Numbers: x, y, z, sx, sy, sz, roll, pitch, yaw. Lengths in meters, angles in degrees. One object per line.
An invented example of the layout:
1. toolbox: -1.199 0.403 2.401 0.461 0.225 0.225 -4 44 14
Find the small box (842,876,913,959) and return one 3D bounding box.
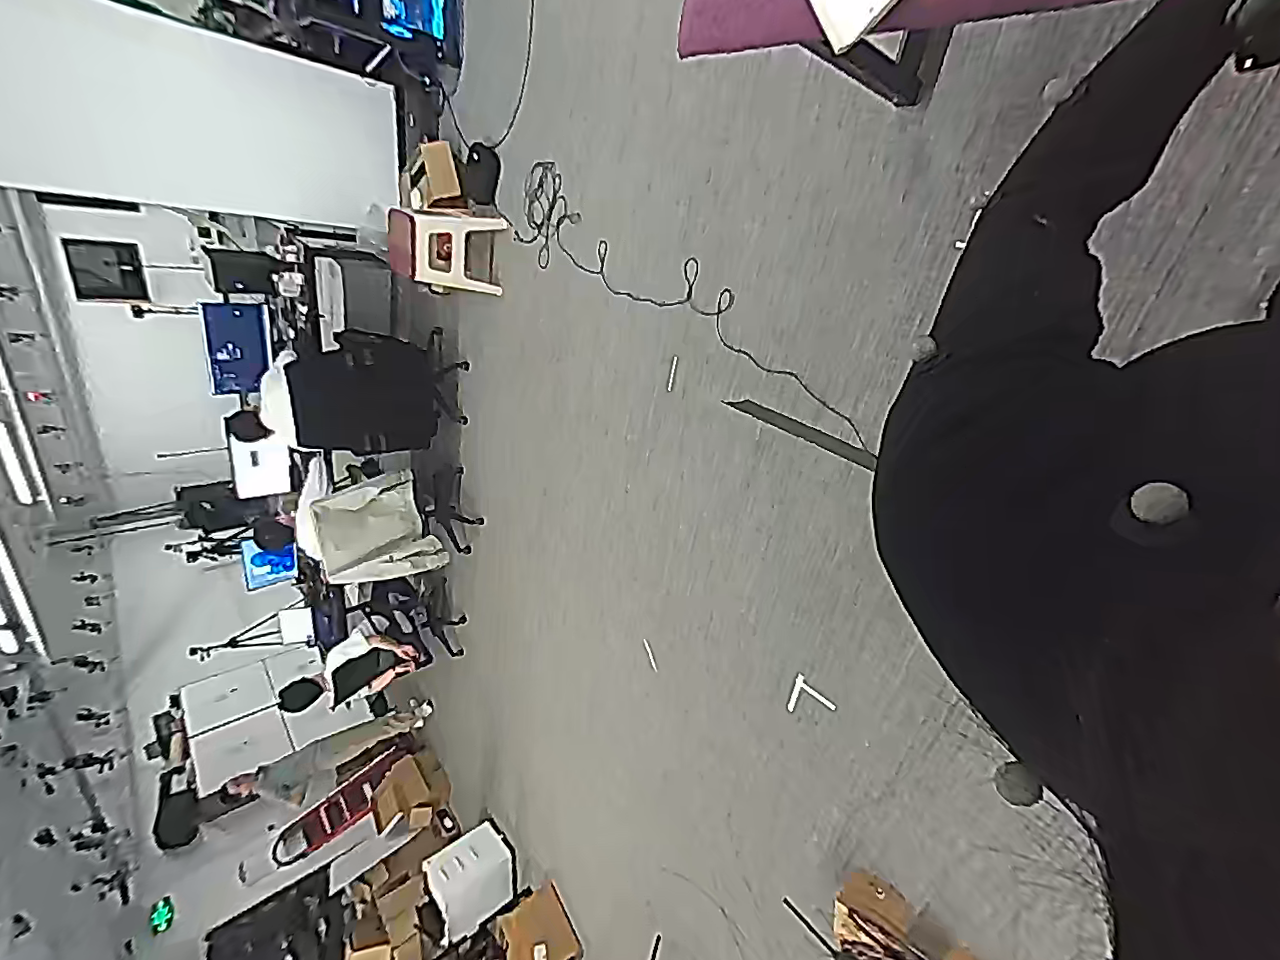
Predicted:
1. small box: 0.785 1.475 1.784 0.168 0.176 0.179 9 107 46
